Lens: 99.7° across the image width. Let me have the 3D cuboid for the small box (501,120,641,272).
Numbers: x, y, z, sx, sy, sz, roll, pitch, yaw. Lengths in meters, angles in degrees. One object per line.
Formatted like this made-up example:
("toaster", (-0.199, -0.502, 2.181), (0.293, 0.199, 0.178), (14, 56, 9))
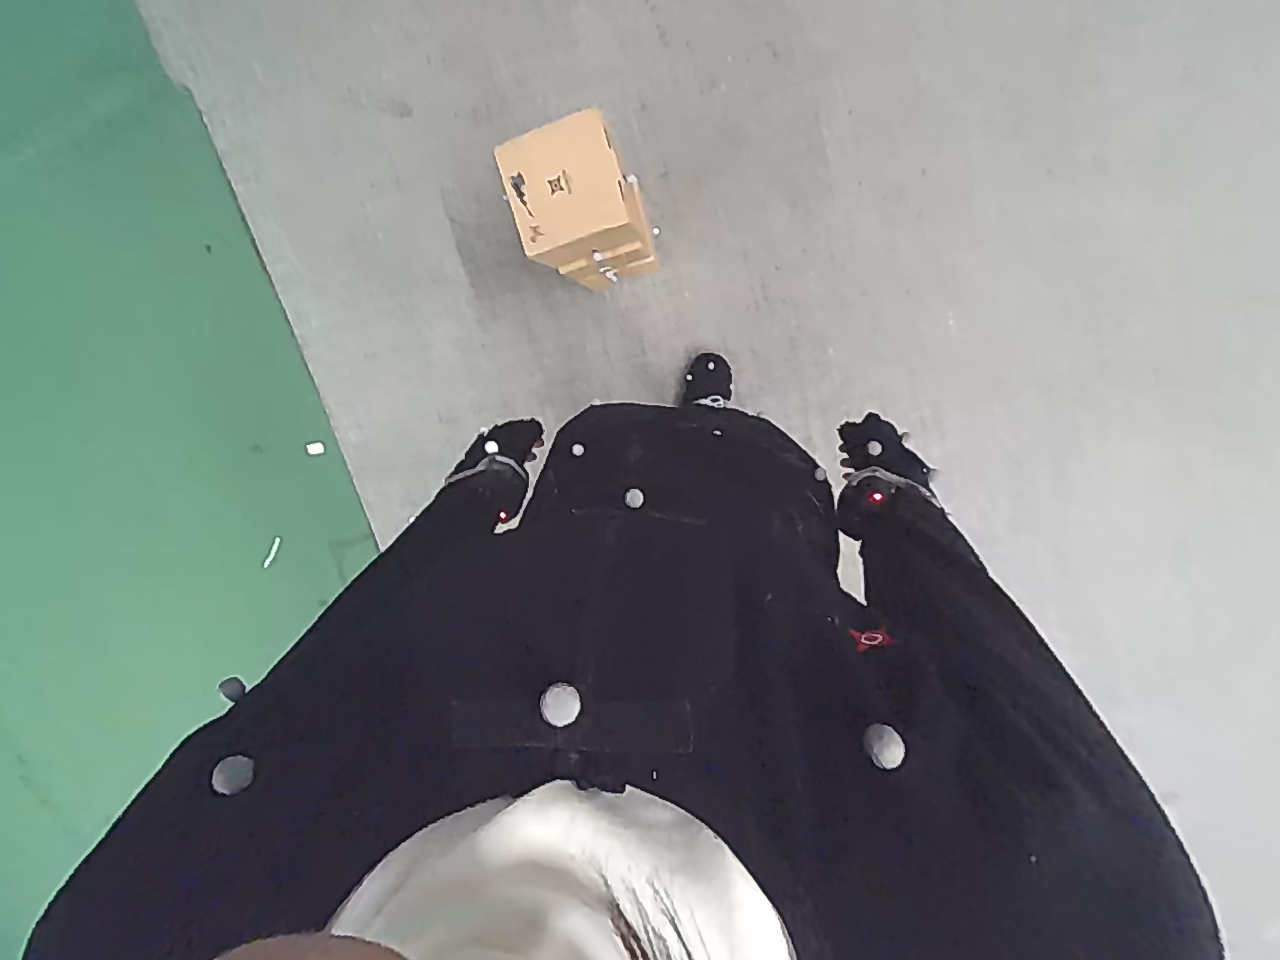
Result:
("small box", (-0.102, -0.461, 0.907), (0.179, 0.176, 0.168), (-13, 103, 12))

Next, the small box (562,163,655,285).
("small box", (-0.077, -0.498, 1.064), (0.168, 0.176, 0.179), (-13, 104, 13))

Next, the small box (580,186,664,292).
("small box", (-0.052, -0.532, 1.221), (0.179, 0.176, 0.168), (-12, 103, 10))
